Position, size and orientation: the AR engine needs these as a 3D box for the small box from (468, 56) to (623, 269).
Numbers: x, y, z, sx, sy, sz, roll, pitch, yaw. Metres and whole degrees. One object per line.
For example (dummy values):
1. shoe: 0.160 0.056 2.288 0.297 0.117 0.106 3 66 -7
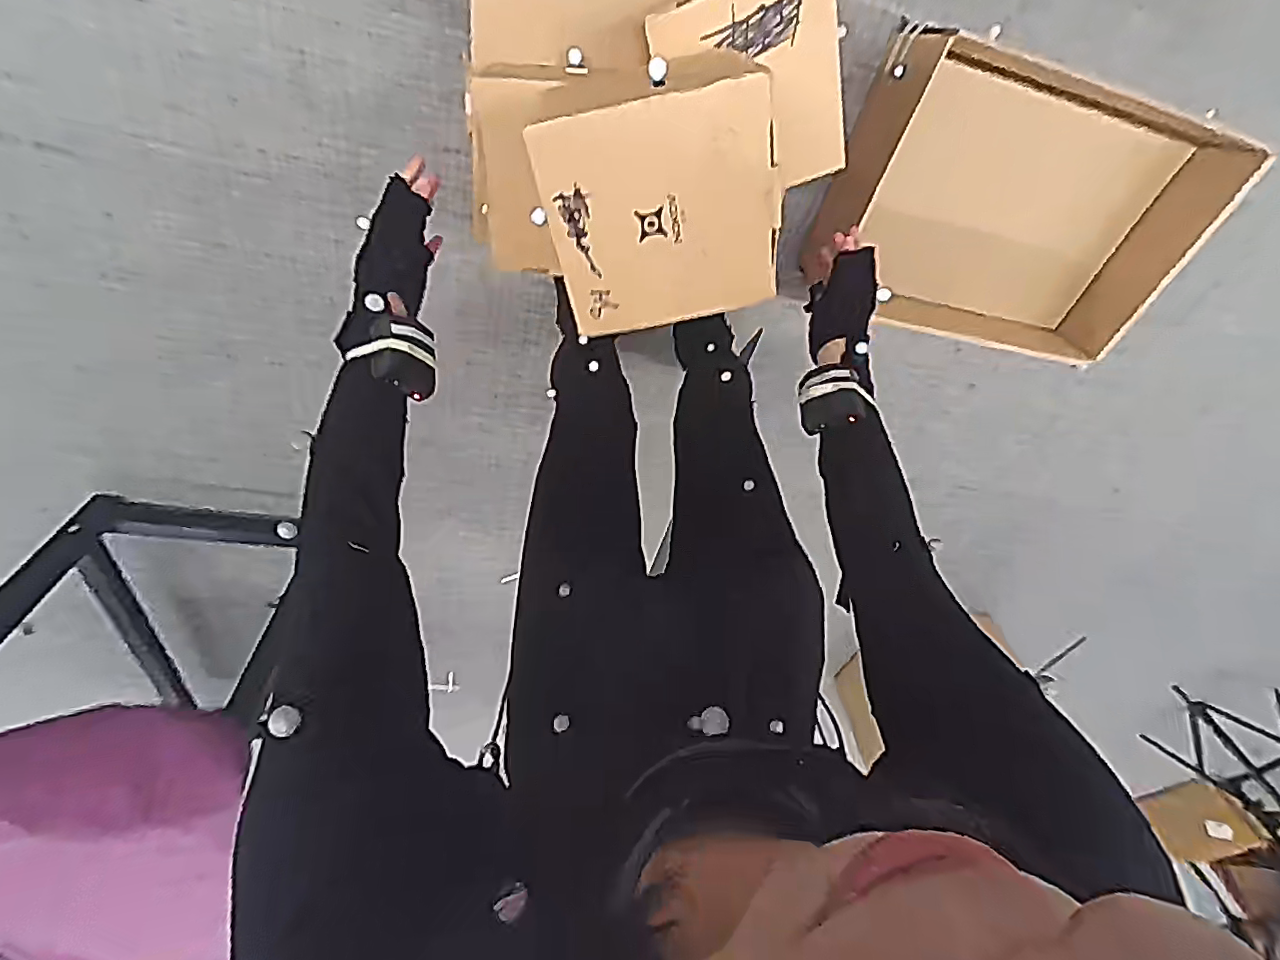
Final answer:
1. small box: -0.083 -0.352 0.600 0.168 0.176 0.179 -2 130 -6

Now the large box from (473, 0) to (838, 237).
1. large box: -0.010 -0.528 0.775 0.408 0.320 0.320 5 132 -10

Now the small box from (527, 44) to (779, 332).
1. small box: 0.014 -0.257 0.472 0.179 0.176 0.168 -10 132 4
